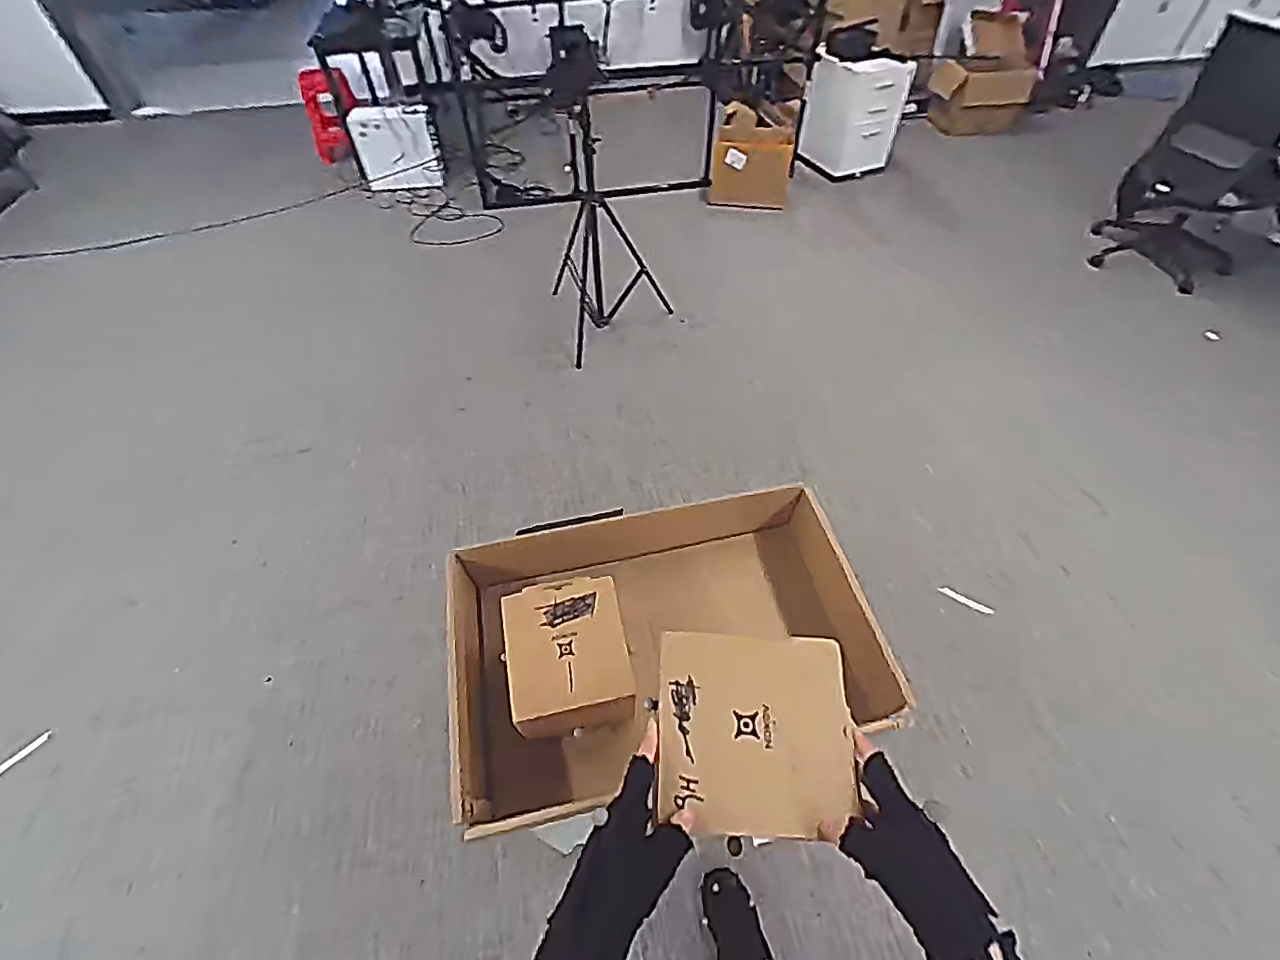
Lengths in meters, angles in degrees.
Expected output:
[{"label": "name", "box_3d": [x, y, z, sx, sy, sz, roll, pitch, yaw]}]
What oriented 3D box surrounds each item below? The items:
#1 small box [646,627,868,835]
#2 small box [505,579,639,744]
[{"label": "small box", "box_3d": [0.102, 0.260, 0.553, 0.179, 0.176, 0.168, 3, 57, -1]}, {"label": "small box", "box_3d": [-0.101, 0.275, 0.812, 0.168, 0.176, 0.179, -10, 57, -8]}]
